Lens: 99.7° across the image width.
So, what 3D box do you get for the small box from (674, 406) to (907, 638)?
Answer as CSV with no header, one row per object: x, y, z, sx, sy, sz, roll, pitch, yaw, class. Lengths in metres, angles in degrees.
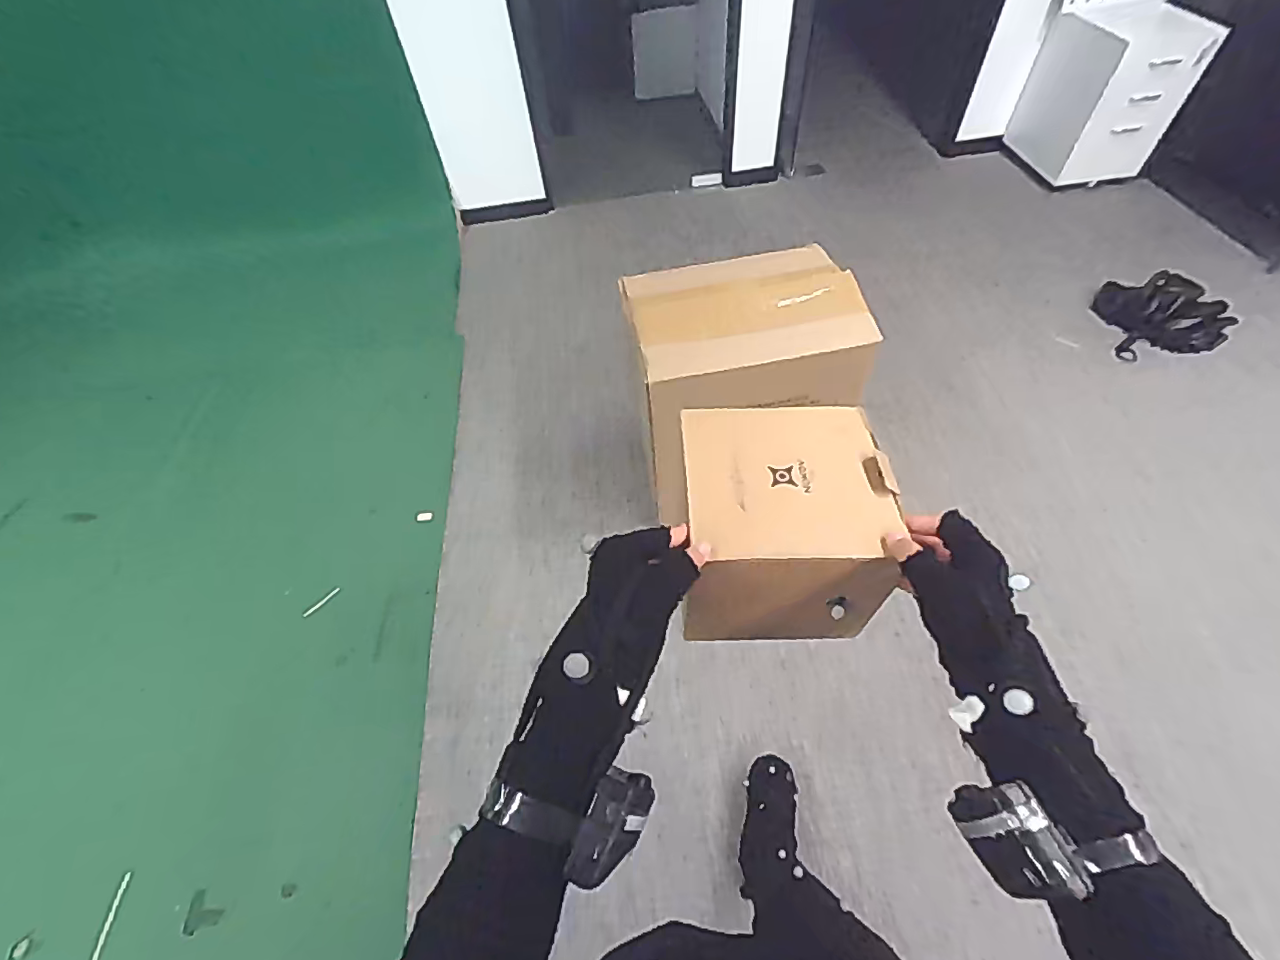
0.126,0.046,0.536,0.179,0.176,0.168,-3,51,1,small box
